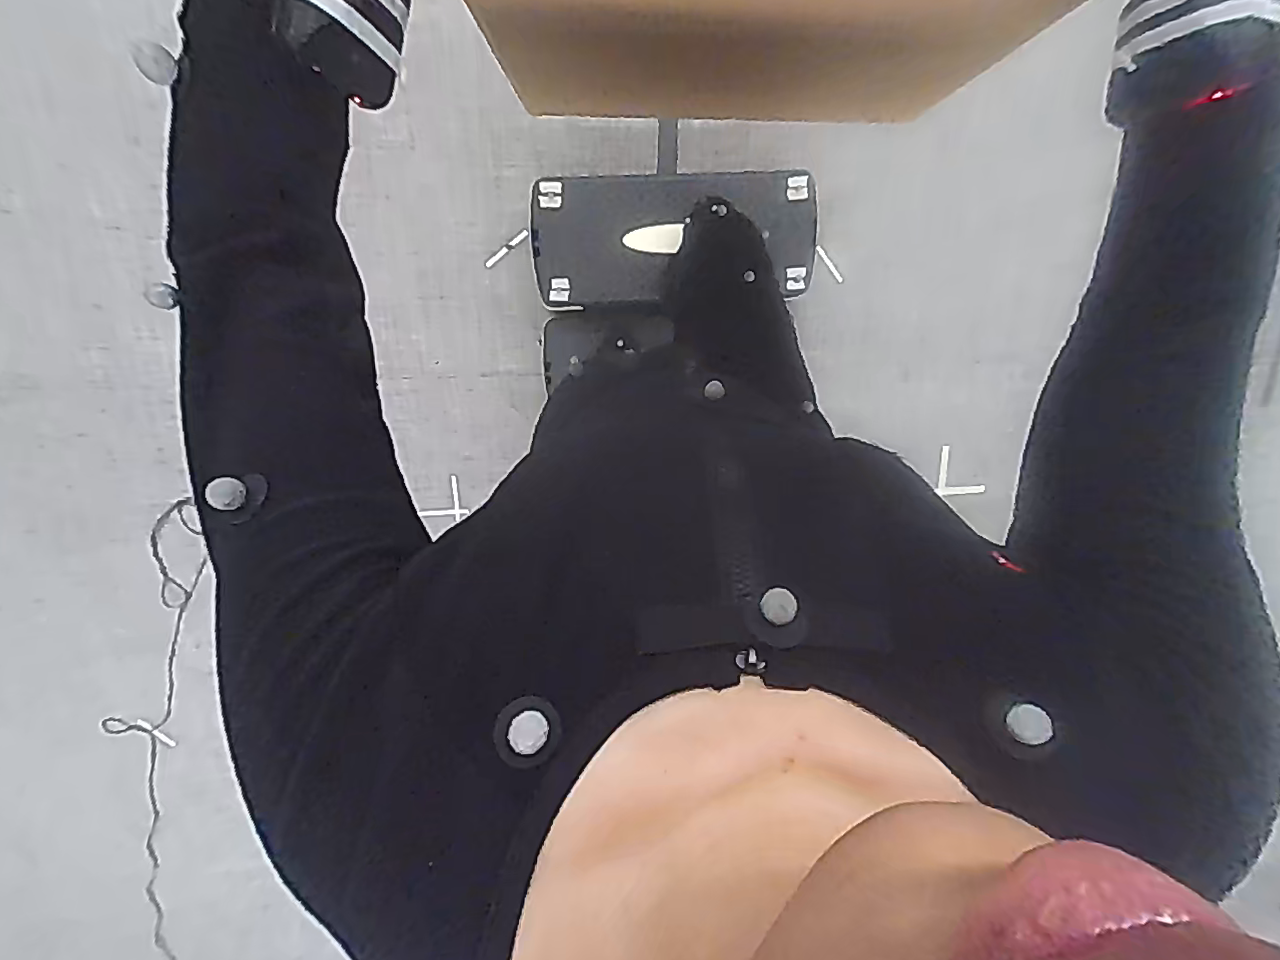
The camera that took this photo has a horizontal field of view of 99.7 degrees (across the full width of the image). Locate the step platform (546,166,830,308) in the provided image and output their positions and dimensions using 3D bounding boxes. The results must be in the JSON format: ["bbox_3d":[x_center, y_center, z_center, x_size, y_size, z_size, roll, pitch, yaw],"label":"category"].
[{"bbox_3d":[0.114,-0.595,1.340,0.684,0.204,0.286,-5,106,-3],"label":"step platform"}]

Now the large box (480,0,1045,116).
[{"bbox_3d":[0.083,-0.486,0.380,0.408,0.320,0.320,0,108,-1],"label":"large box"}]
